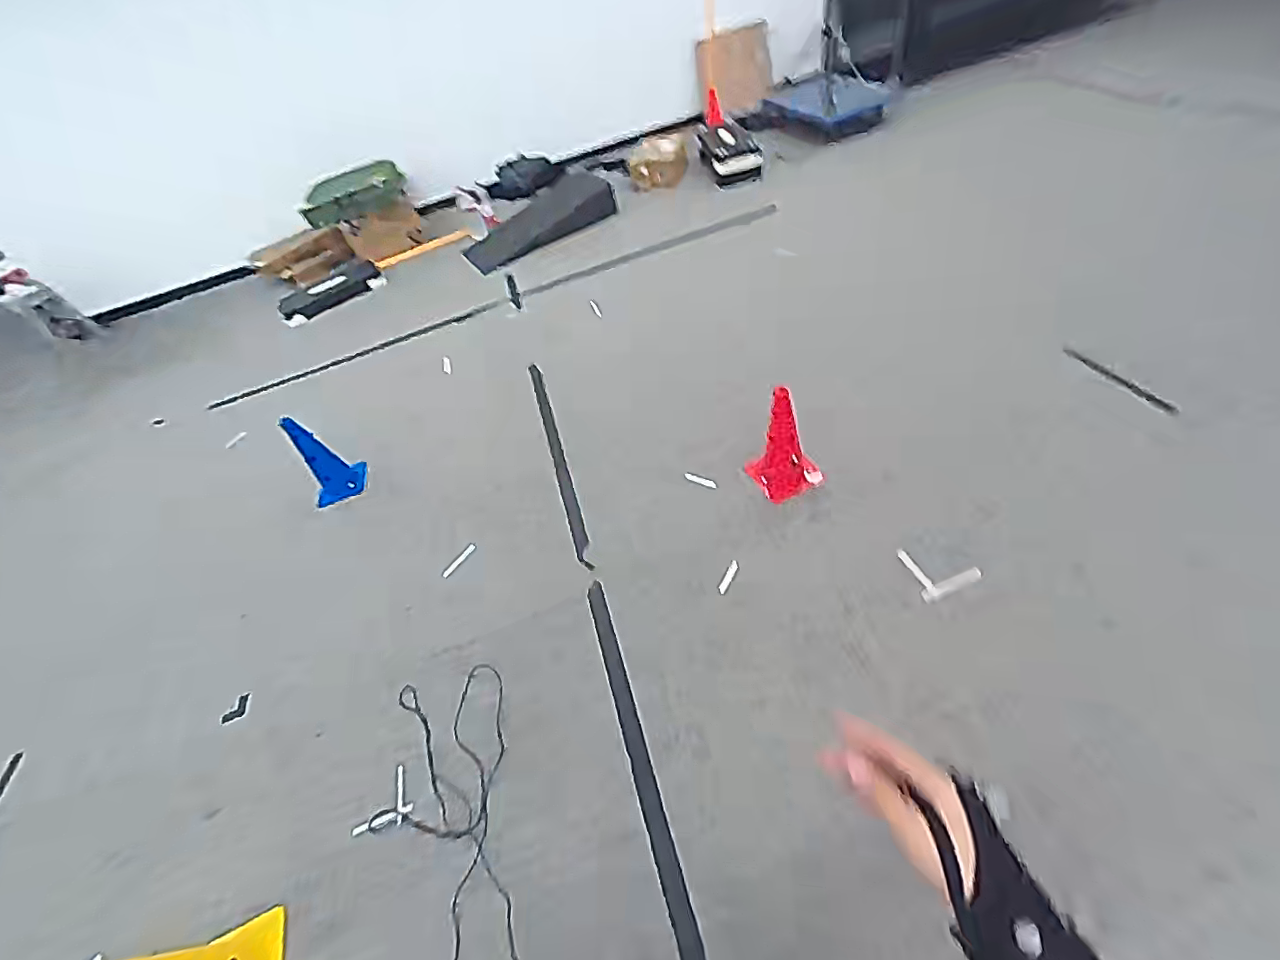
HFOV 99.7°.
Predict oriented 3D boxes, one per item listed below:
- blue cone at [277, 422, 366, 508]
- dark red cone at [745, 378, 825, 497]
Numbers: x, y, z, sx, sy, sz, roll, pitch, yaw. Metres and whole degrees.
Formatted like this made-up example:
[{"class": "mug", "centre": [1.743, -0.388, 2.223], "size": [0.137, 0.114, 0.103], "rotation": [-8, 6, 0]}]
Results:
[{"class": "blue cone", "centre": [-1.262, -0.084, 2.110], "size": [0.192, 0.380, 0.193], "rotation": [-20, 45, -2]}, {"class": "dark red cone", "centre": [0.435, -0.147, 1.643], "size": [0.201, 0.394, 0.202], "rotation": [-26, 46, -8]}]
